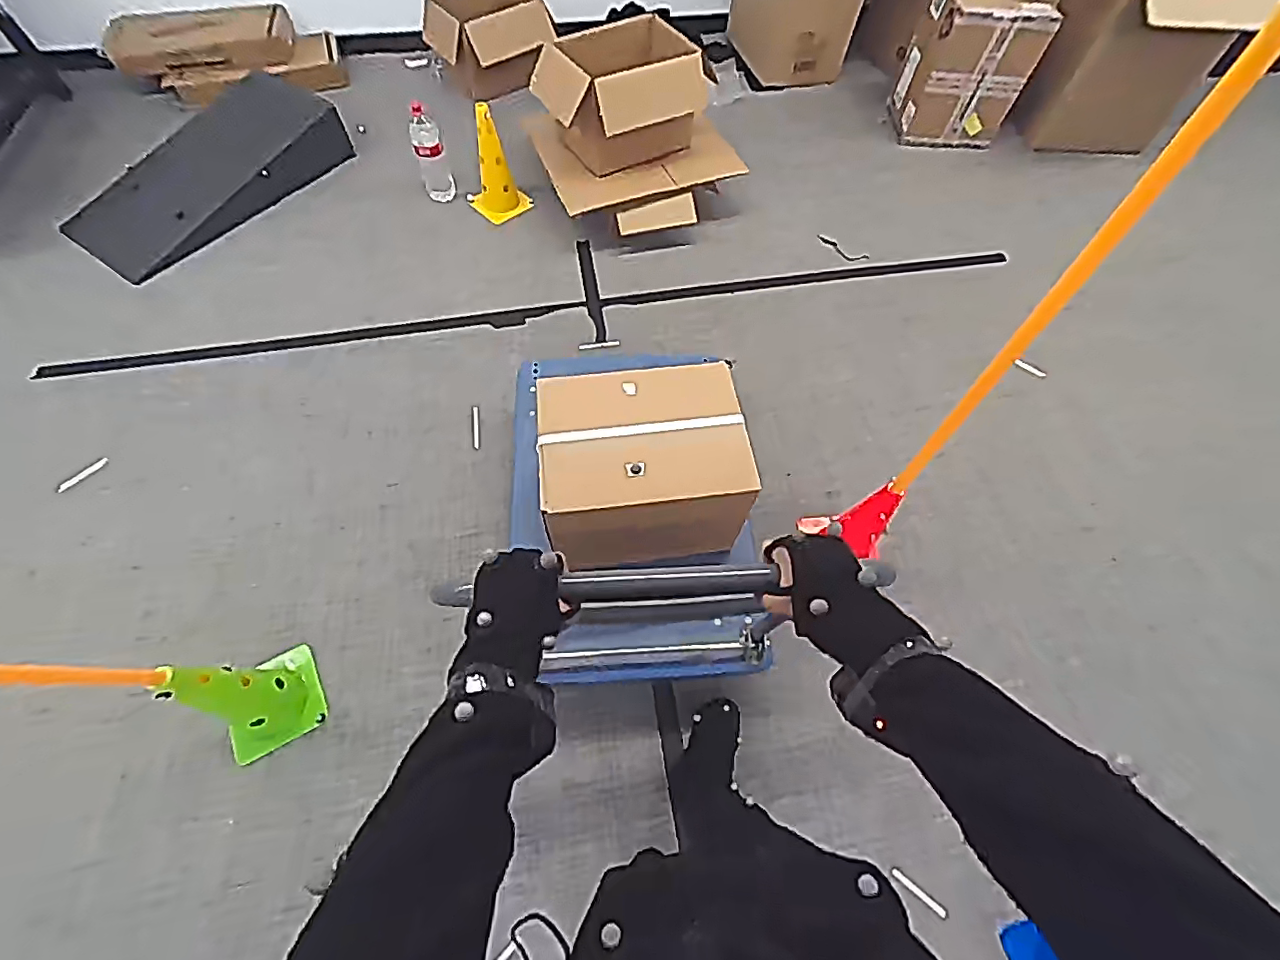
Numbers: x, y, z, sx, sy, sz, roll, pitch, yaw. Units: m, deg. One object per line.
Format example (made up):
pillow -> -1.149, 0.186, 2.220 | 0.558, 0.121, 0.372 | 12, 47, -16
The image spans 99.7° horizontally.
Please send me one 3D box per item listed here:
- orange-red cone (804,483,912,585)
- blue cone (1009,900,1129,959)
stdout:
orange-red cone -> 0.556, 0.104, 1.305 | 0.199, 0.360, 0.198 | -2, 62, -4
blue cone -> 0.842, 0.873, 0.906 | 0.193, 0.380, 0.192 | -12, 61, -8
